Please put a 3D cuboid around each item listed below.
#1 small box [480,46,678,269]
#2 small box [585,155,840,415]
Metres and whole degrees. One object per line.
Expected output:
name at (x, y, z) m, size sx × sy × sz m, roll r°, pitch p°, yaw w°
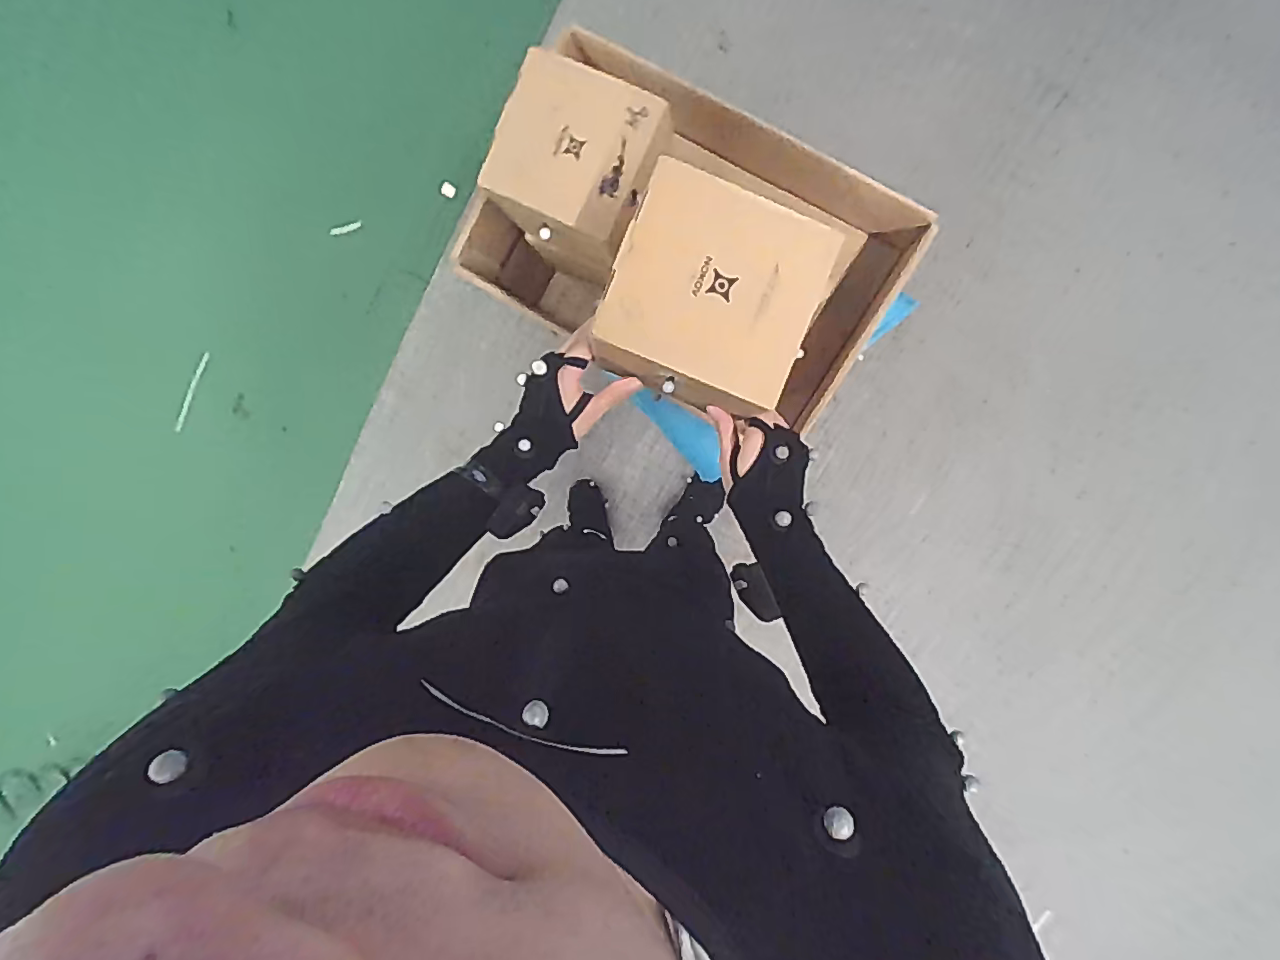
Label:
small box at (-0.066, -0.390, 0.692) m, size 0.179 × 0.176 × 0.168 m, roll 27°, pitch 99°, yaw 6°
small box at (0.058, -0.171, 0.540) m, size 0.179 × 0.176 × 0.168 m, roll 22°, pitch 92°, yaw -4°
